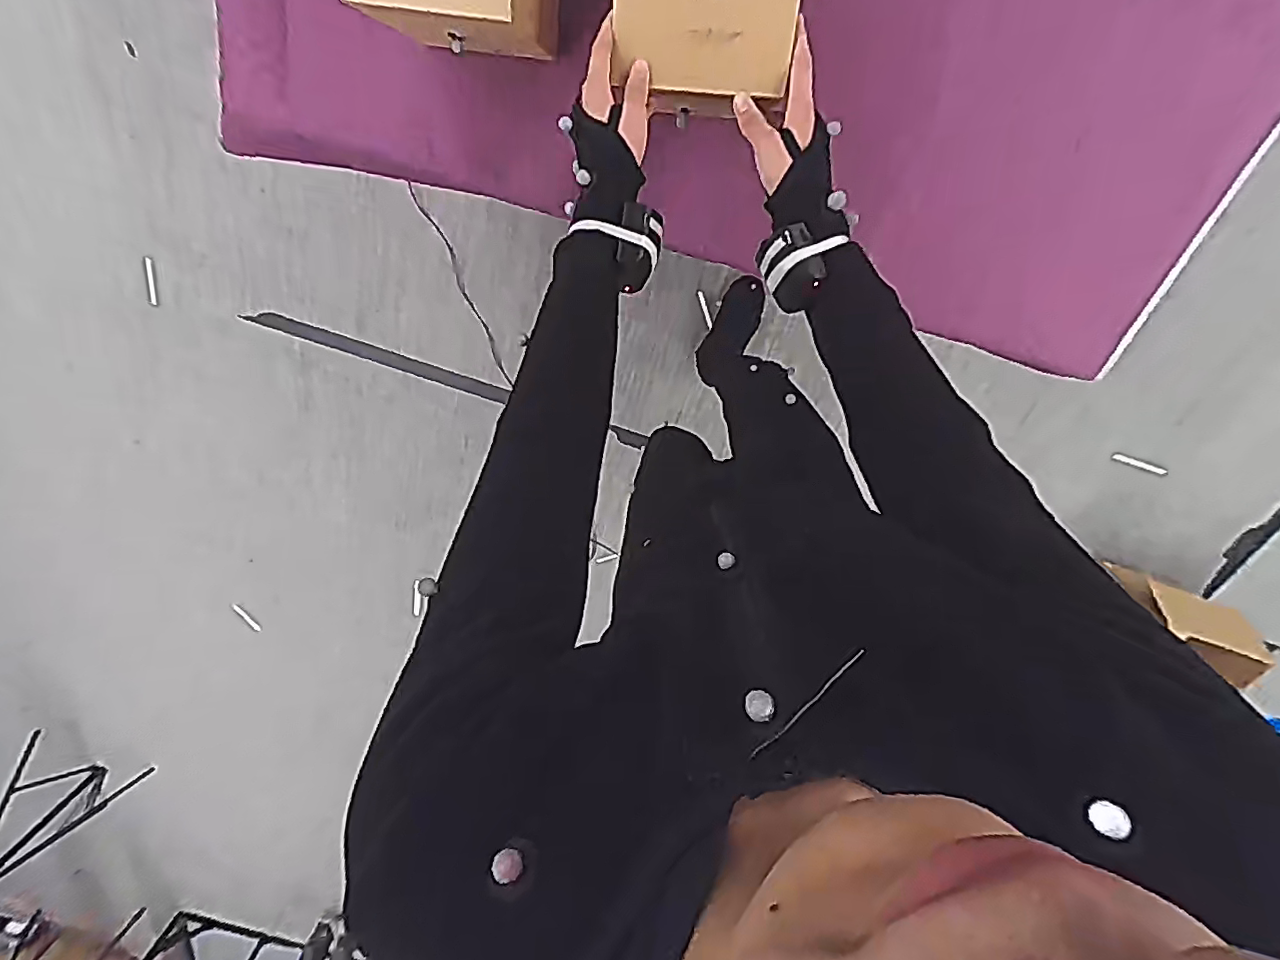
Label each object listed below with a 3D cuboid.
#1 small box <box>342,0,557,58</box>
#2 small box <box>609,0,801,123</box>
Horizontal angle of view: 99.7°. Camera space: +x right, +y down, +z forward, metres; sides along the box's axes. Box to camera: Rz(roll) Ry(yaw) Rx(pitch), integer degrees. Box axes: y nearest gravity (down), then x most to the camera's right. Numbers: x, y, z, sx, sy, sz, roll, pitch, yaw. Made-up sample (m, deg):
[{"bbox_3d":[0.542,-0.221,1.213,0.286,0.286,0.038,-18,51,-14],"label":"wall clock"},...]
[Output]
[{"bbox_3d":[-0.177,-0.539,0.526,0.168,0.176,0.179,9,118,2],"label":"small box"},{"bbox_3d":[0.068,-0.472,0.531,0.168,0.176,0.179,8,118,4],"label":"small box"}]
